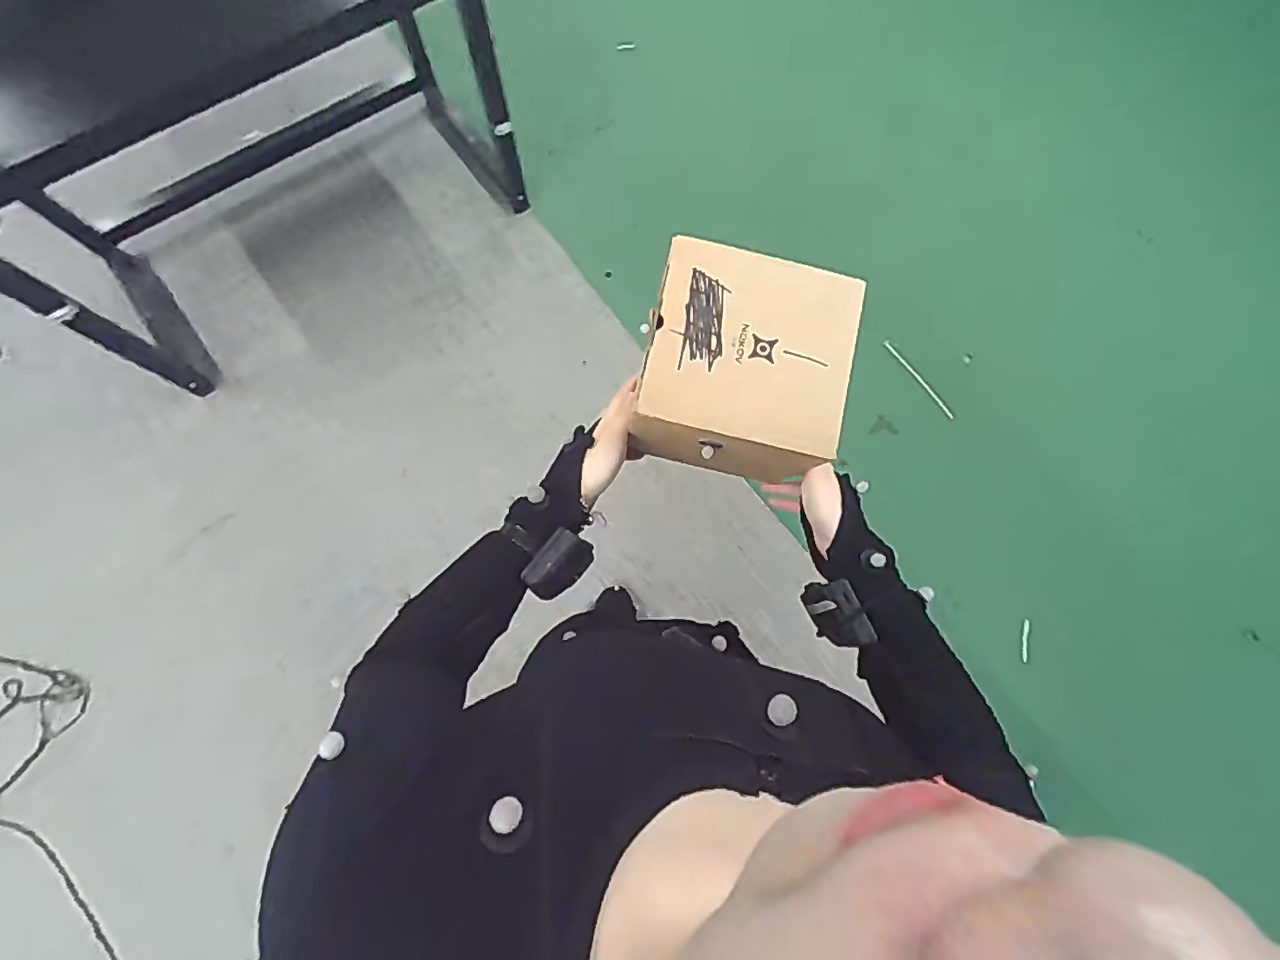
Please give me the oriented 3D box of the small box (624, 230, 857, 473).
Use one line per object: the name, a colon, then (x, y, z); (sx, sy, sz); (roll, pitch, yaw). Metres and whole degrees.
small box: (0.084, -0.110, 0.538); (0.179, 0.176, 0.168); (13, 82, -3)
